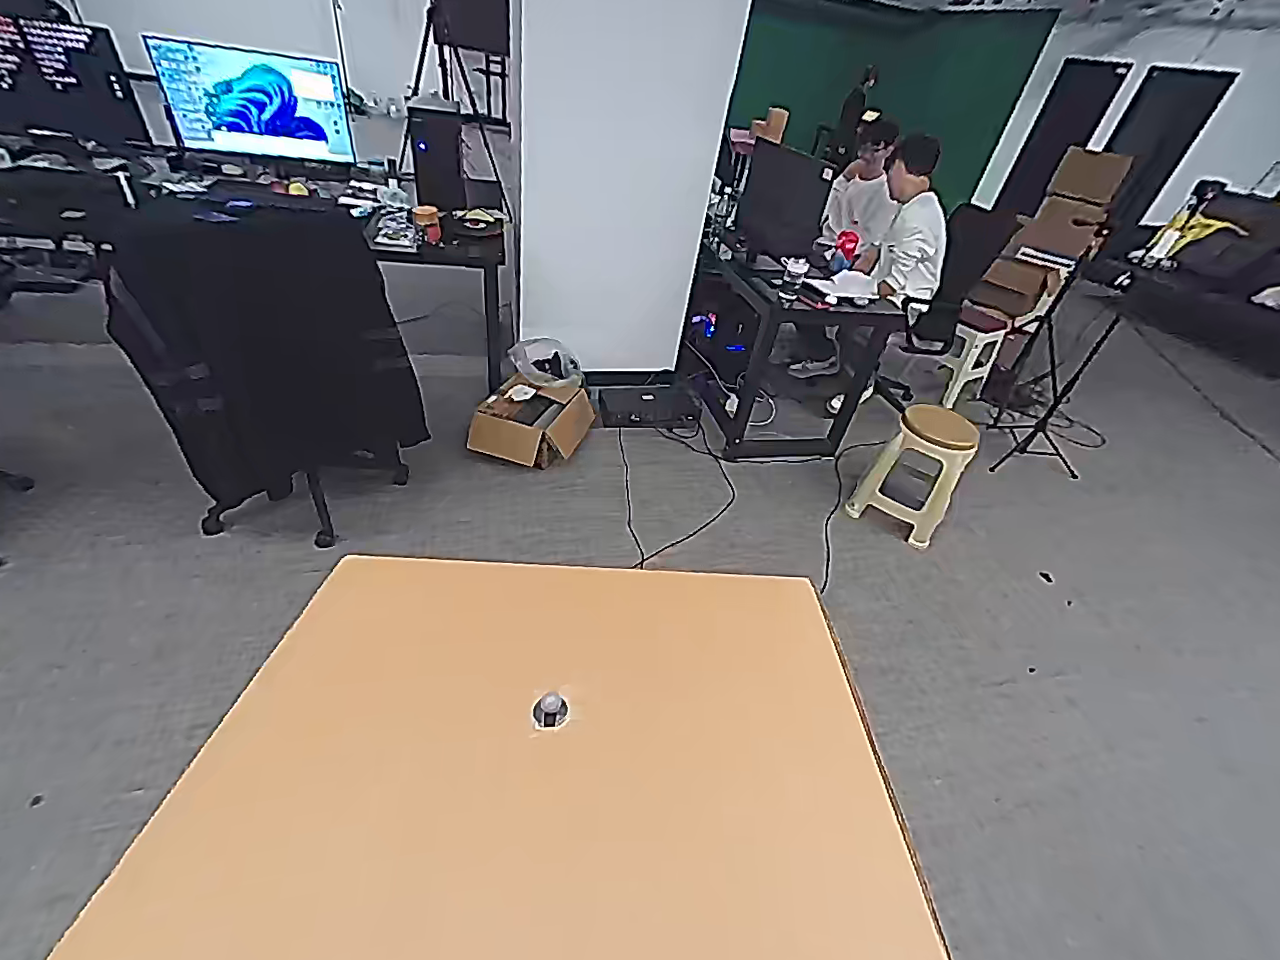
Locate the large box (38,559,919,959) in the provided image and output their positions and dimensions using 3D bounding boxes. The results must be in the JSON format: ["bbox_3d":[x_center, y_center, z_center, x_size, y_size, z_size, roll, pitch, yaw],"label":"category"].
[{"bbox_3d":[-0.074,0.276,0.419,0.408,0.320,0.320,1,34,0],"label":"large box"}]
